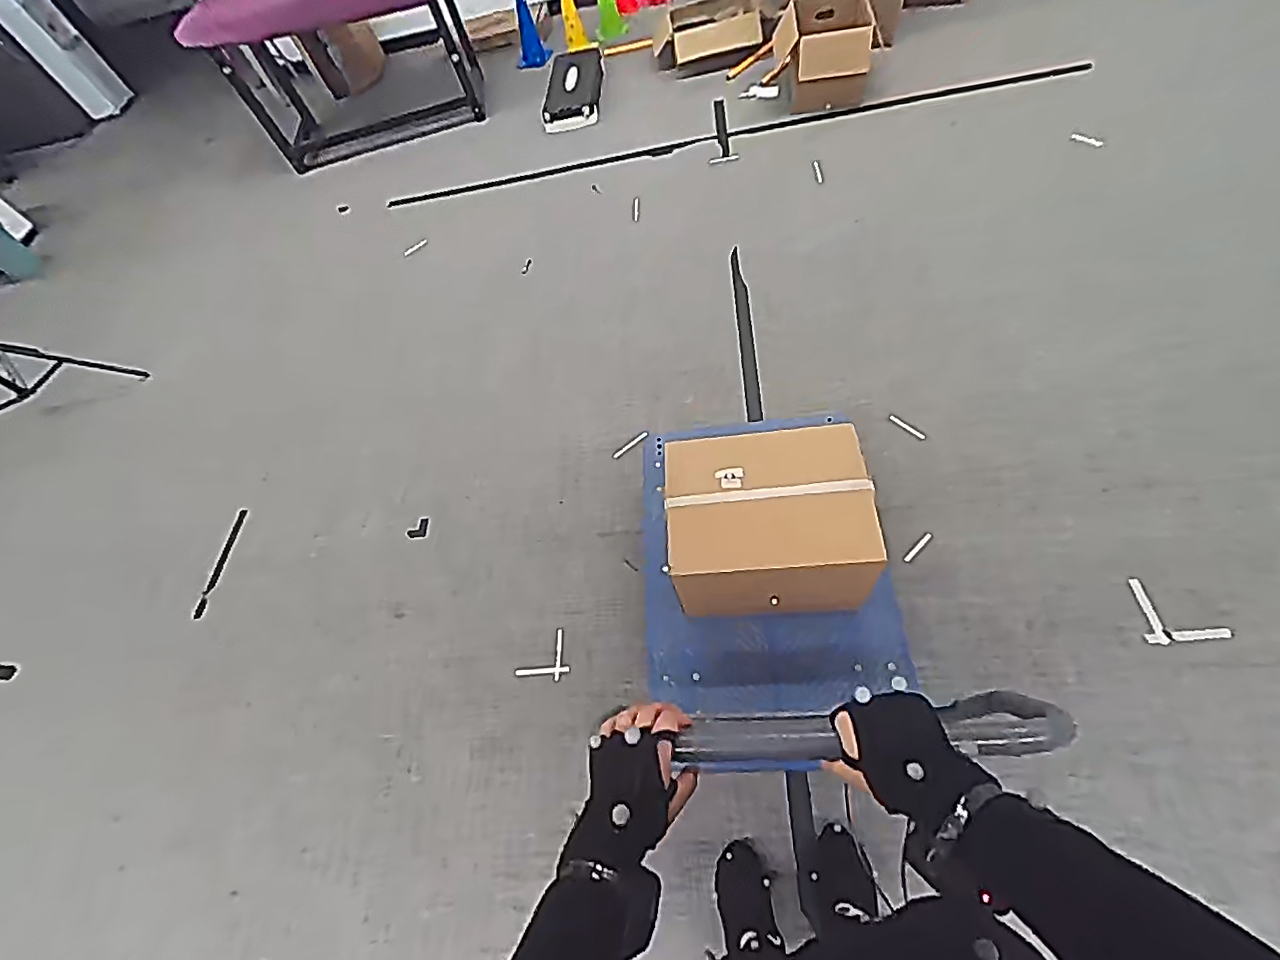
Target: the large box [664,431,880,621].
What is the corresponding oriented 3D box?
[{"bbox_3d":[0.283,0.121,1.239,0.408,0.320,0.320,-6,58,10],"label":"large box"}]
